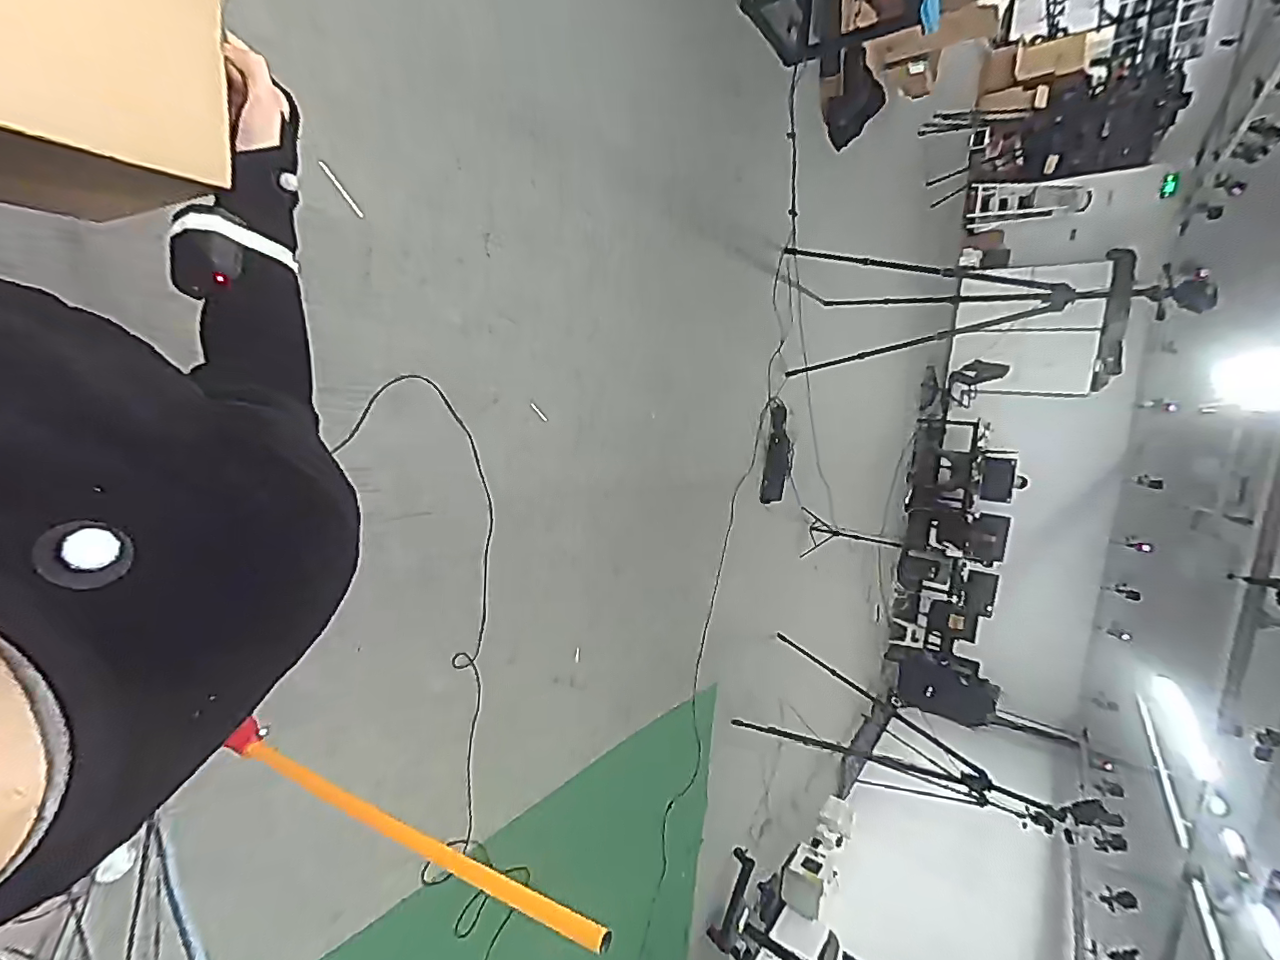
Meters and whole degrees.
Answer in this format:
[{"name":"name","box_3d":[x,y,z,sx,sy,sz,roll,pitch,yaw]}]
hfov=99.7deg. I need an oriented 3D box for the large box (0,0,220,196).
[{"name":"large box","box_3d":[-0.577,-0.406,0.340,0.408,0.320,0.320,-15,112,-57]}]
